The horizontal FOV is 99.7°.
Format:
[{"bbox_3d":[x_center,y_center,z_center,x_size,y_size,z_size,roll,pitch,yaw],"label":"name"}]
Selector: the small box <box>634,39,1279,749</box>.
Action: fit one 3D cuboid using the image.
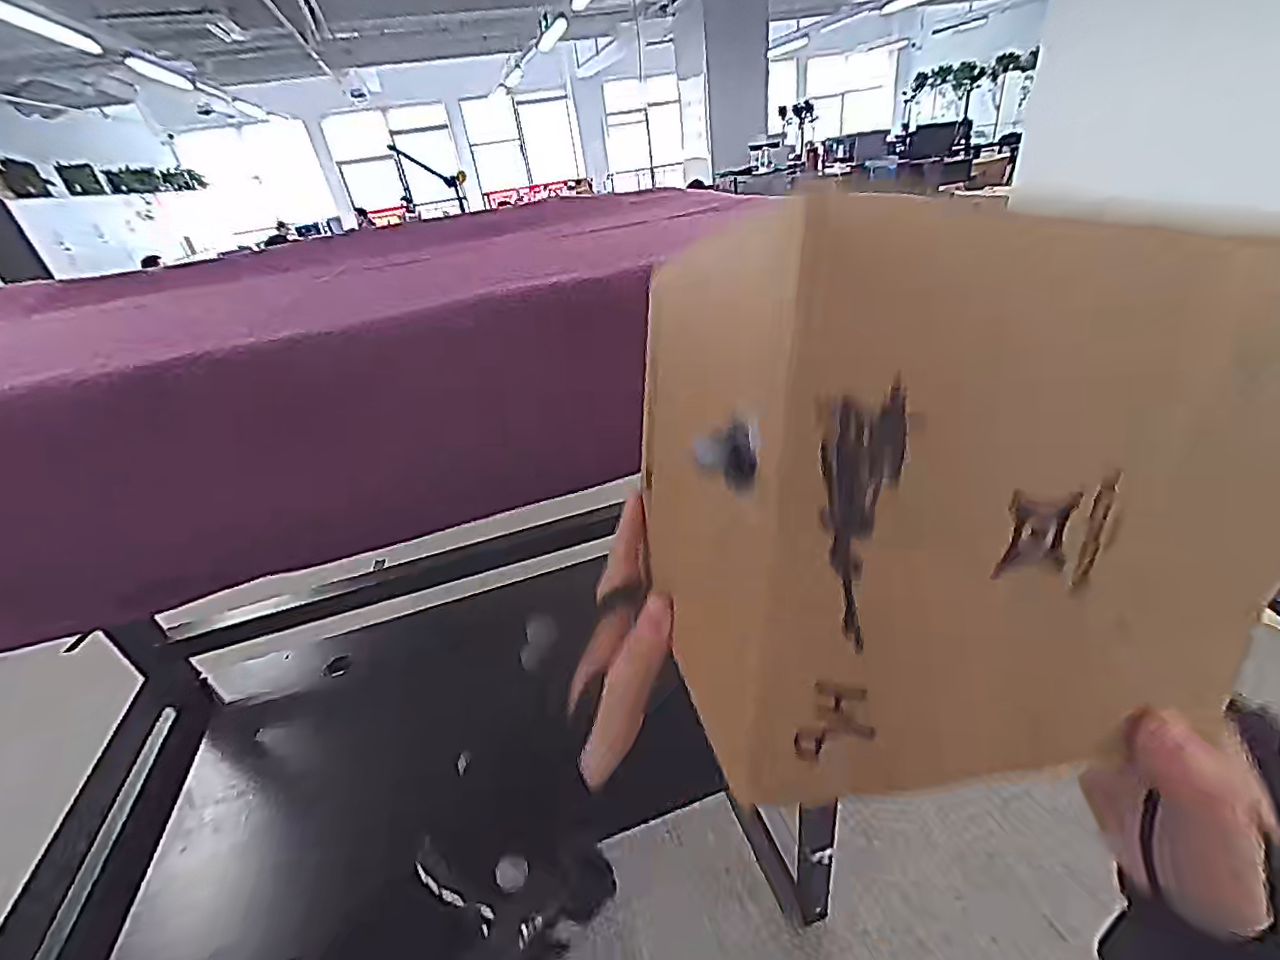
[{"bbox_3d":[0.102,-0.028,0.218,0.179,0.168,0.176,0,14,-11],"label":"small box"}]
